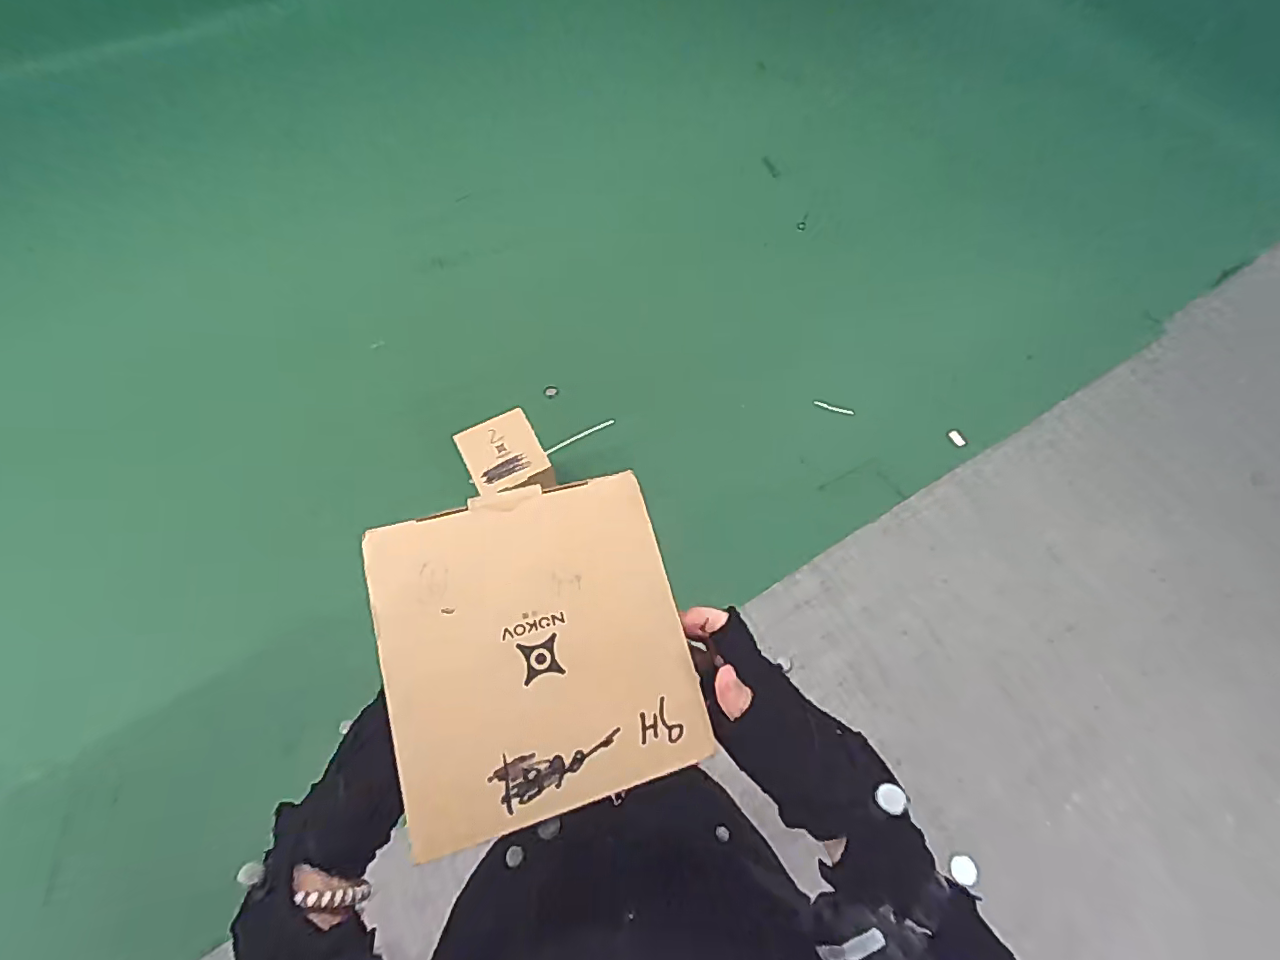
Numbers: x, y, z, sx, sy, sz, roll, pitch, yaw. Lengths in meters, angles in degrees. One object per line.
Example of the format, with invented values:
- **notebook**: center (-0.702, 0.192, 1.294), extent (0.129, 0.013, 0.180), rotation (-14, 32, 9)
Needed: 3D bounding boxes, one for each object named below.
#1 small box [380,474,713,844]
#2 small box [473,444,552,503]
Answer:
- **small box**: center (-0.069, 0.116, 0.390), extent (0.168, 0.176, 0.179), rotation (-13, 75, -13)
- **small box**: center (-0.318, 0.040, 1.431), extent (0.168, 0.176, 0.179), rotation (-25, 70, -12)
